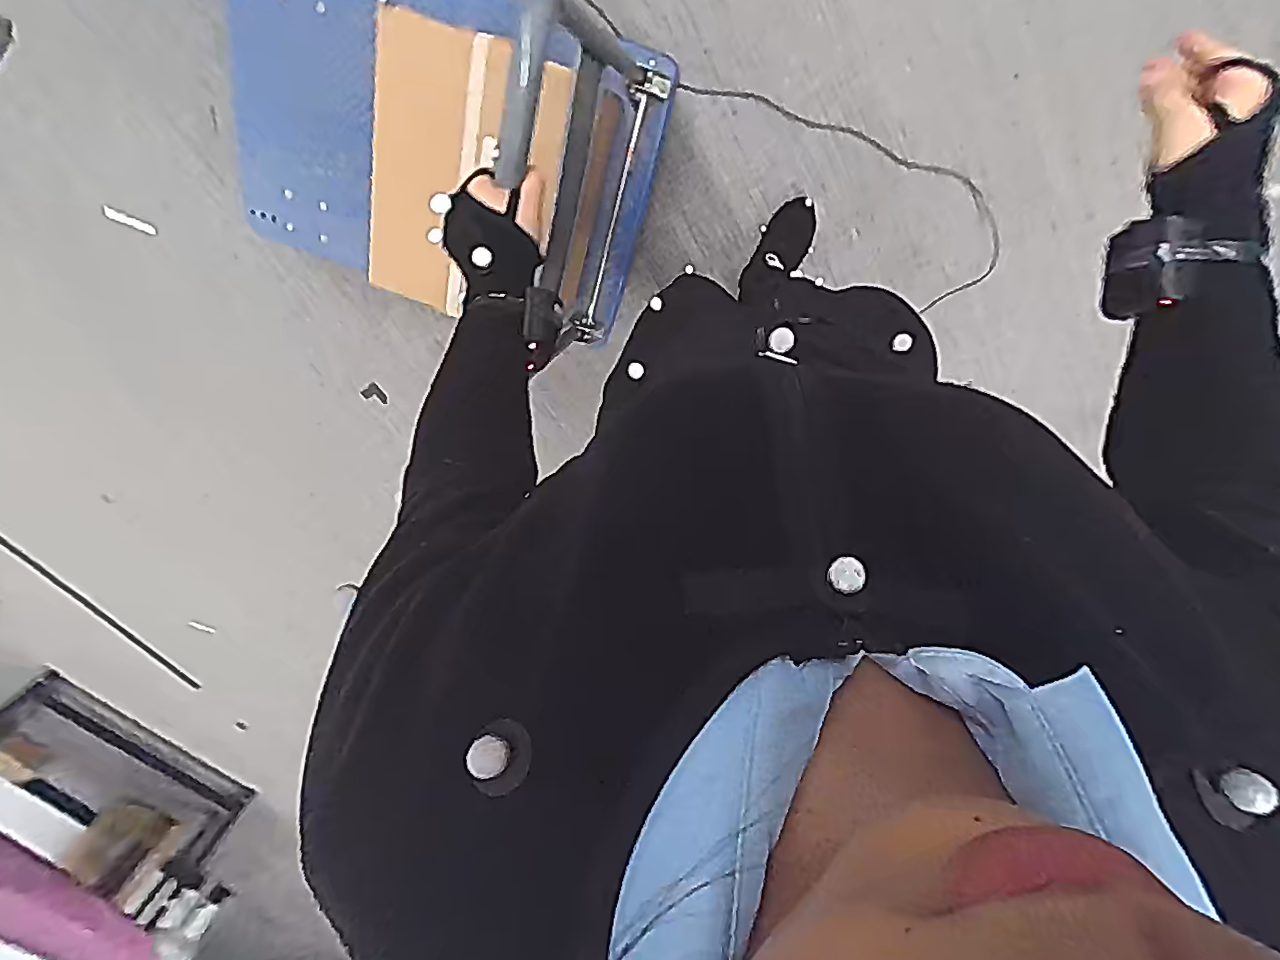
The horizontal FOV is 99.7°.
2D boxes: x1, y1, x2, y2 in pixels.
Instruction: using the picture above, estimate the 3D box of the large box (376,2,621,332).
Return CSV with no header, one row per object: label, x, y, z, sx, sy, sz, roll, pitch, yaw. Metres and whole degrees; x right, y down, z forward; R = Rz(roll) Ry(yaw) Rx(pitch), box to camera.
large box,-0.252,-0.542,0.998,0.320,0.320,0.408,18,120,-3
